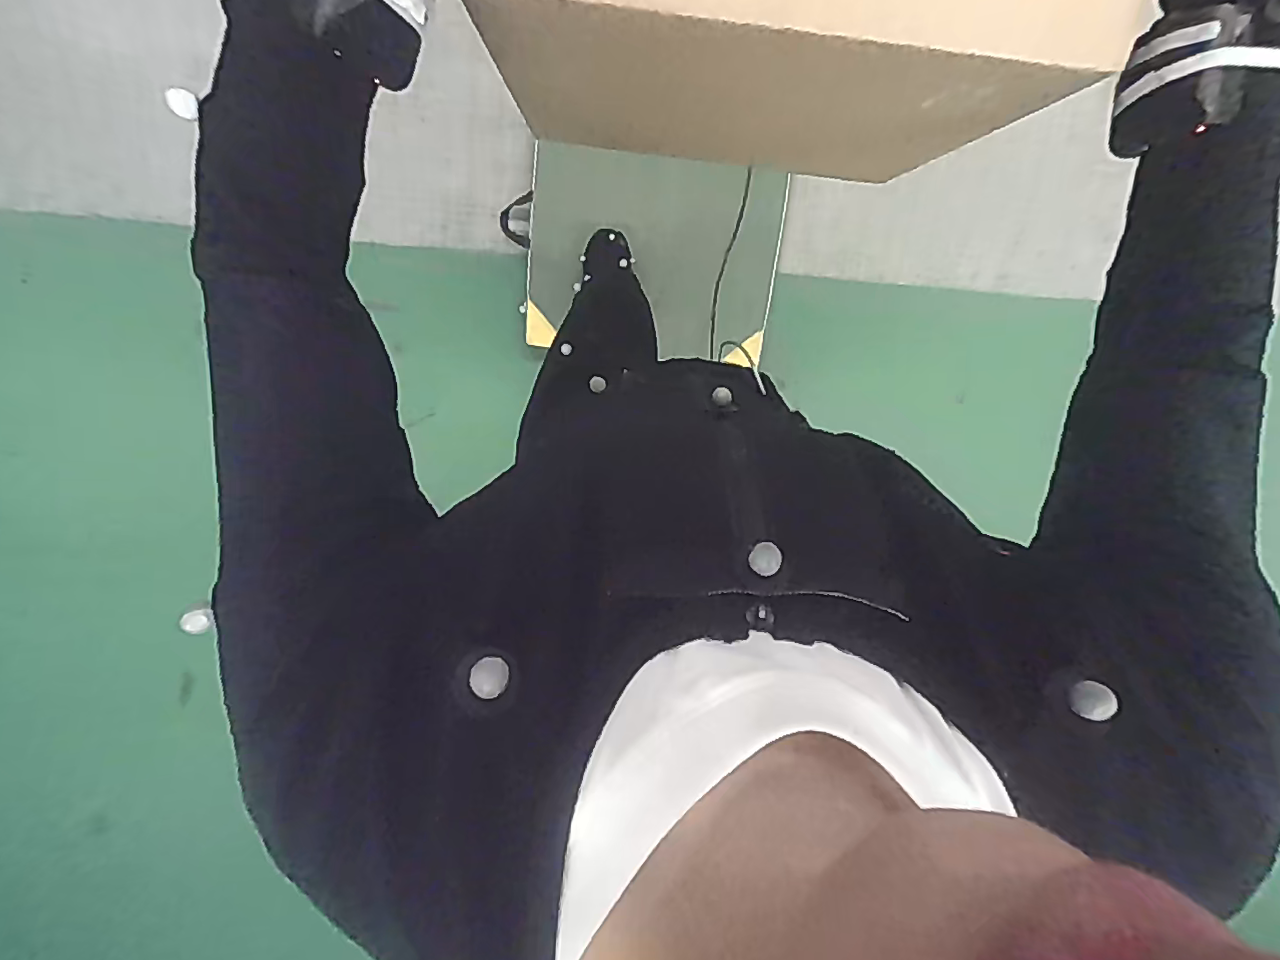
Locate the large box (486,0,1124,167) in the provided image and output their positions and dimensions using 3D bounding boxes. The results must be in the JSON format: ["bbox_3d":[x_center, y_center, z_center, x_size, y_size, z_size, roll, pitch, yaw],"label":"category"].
[{"bbox_3d":[0.100,-0.469,0.421,0.408,0.320,0.320,4,108,-5],"label":"large box"}]
